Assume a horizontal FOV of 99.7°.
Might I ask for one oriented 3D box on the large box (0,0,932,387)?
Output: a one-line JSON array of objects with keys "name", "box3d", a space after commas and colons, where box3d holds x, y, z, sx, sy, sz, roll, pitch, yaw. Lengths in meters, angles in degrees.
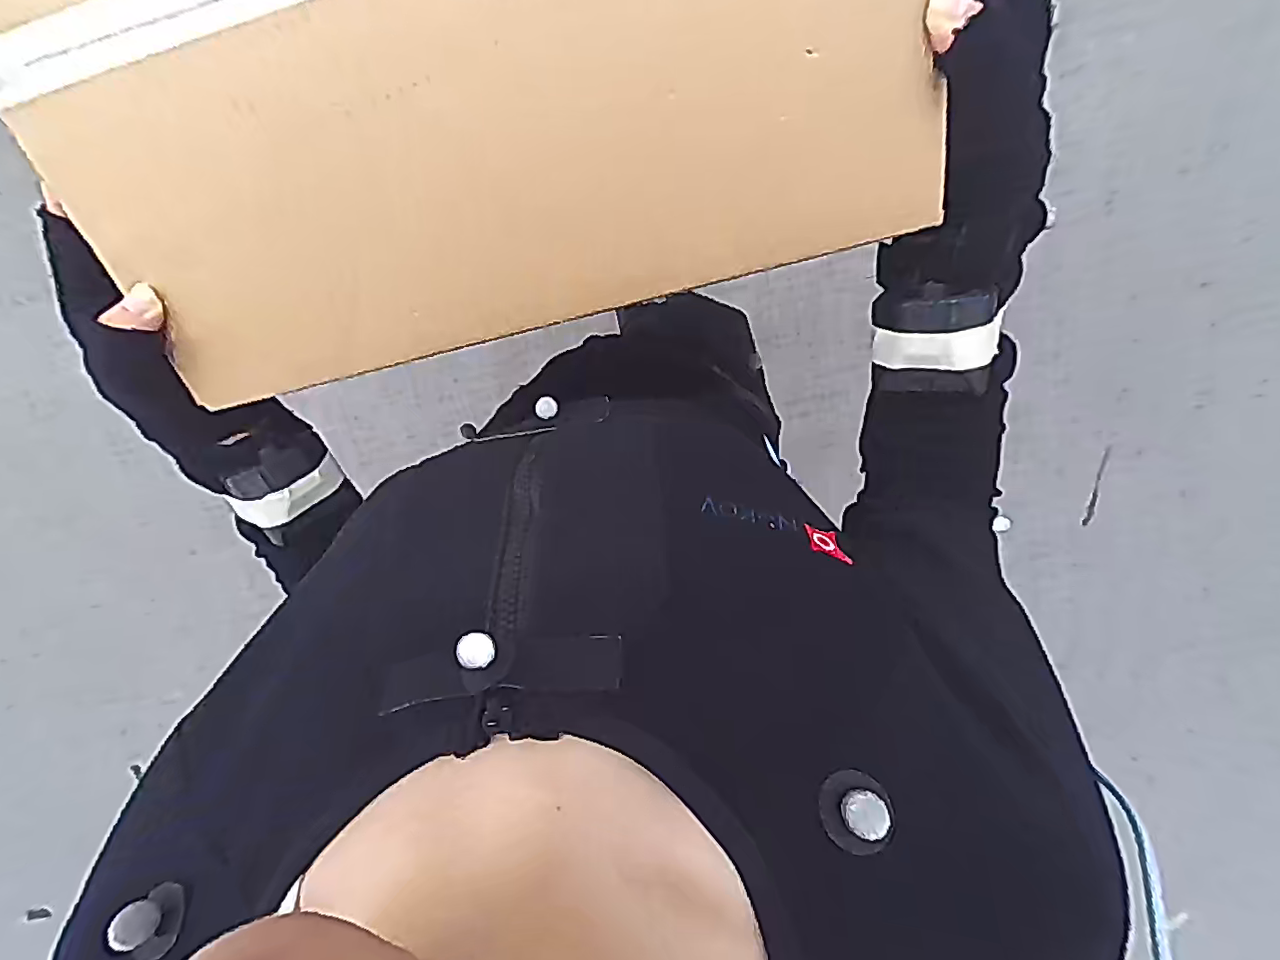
[{"name": "large box", "box3d": [-0.087, -0.297, 0.353, 0.408, 0.320, 0.320, -13, 119, 7]}]
